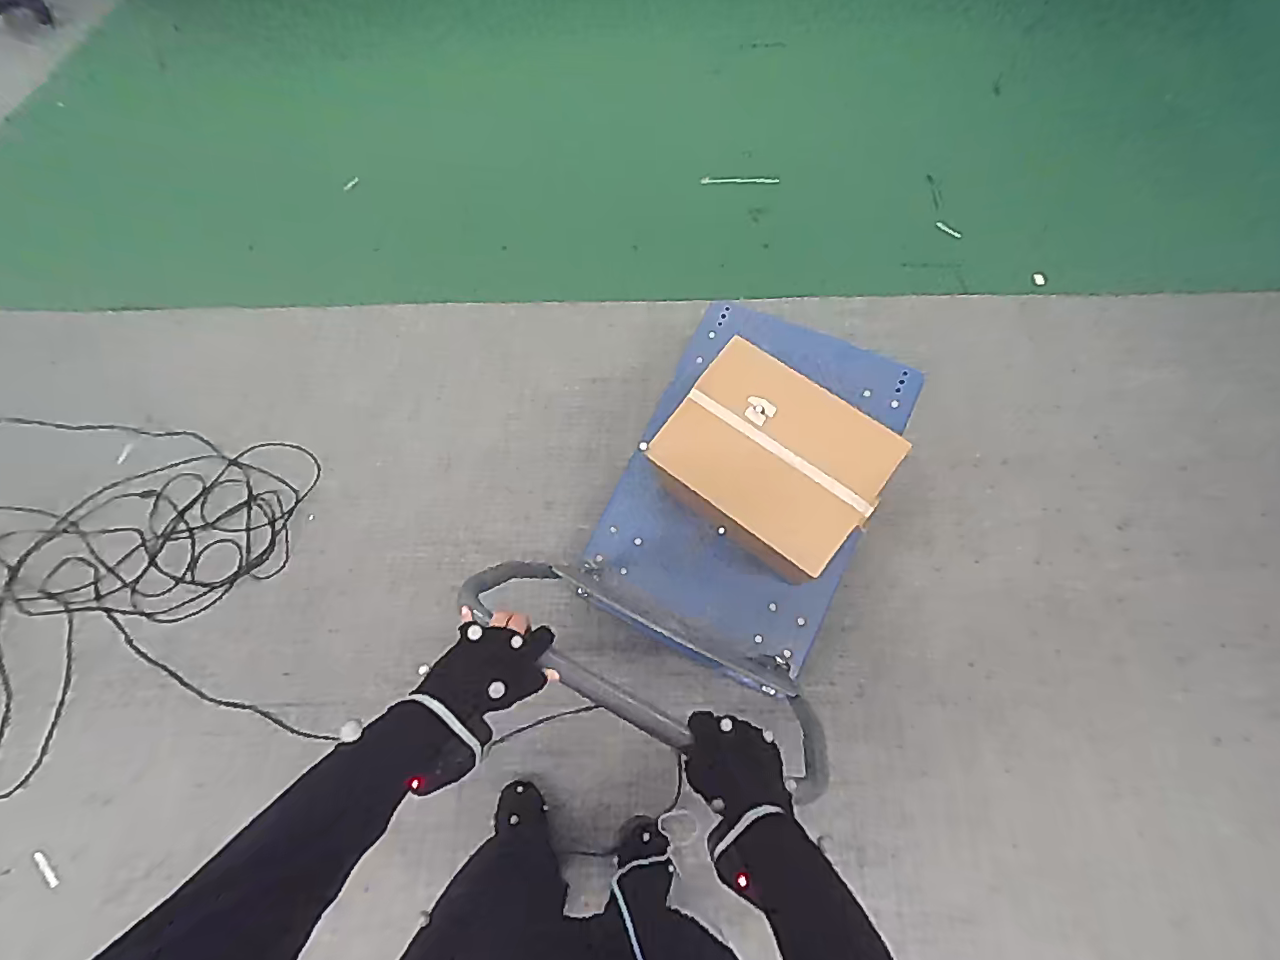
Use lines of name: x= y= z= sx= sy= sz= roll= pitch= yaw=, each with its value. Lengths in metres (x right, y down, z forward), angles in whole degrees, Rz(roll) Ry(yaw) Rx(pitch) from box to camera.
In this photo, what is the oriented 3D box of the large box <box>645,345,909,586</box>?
large box: x=0.279 y=-0.012 z=1.176 sx=0.408 sy=0.320 sz=0.320 roll=37 pitch=84 yaw=16
